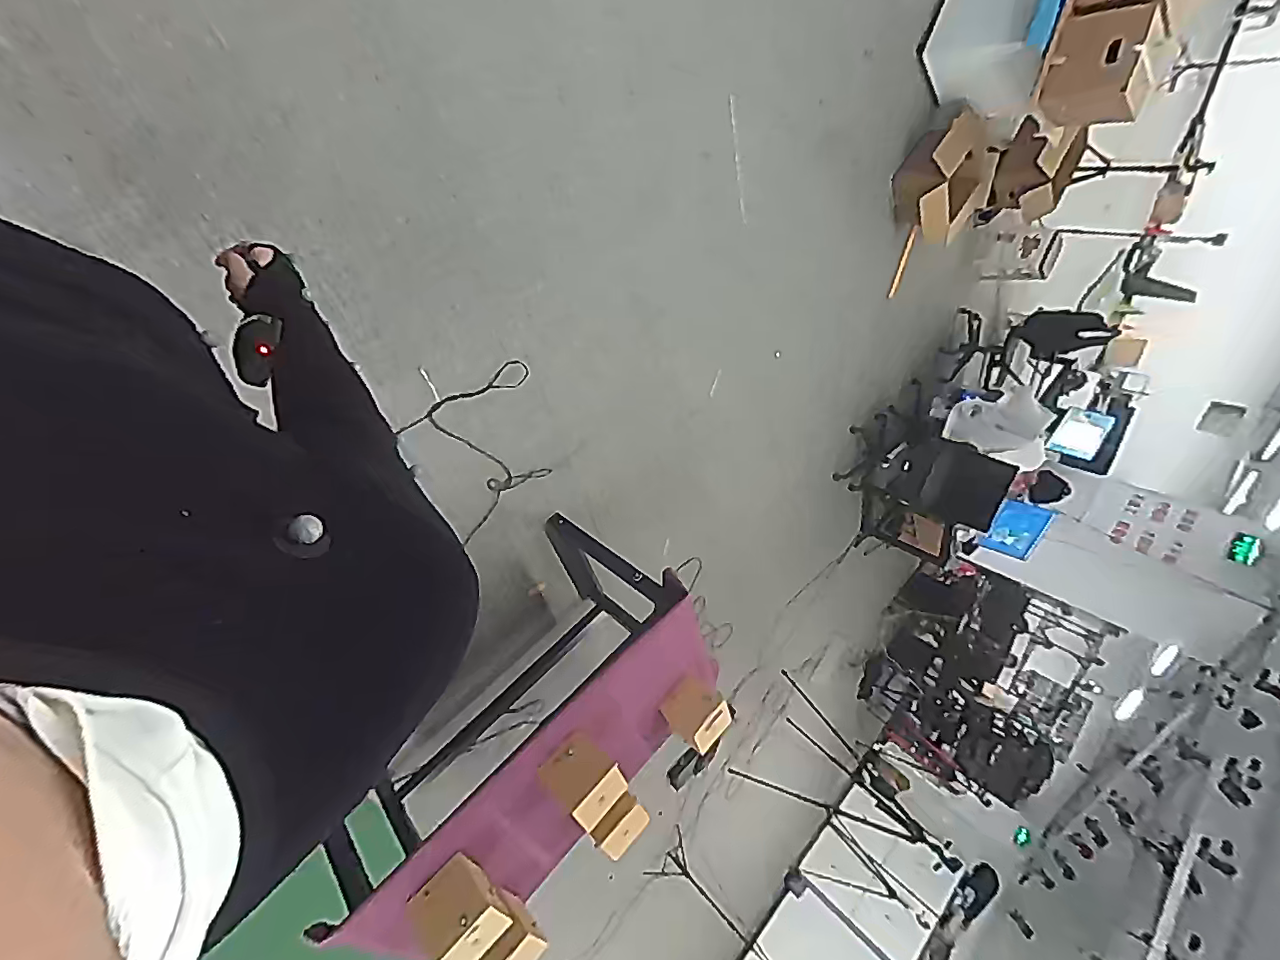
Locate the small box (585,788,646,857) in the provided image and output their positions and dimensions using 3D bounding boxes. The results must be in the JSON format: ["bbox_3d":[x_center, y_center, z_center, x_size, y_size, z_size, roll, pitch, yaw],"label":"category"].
[{"bbox_3d":[-0.110,1.079,1.770,0.168,0.176,0.179,-41,135,-23],"label":"small box"}]

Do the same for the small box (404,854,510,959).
[{"bbox_3d":[-0.469,1.110,1.389,0.168,0.176,0.179,-39,138,-28],"label":"small box"}]

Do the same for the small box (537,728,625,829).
[{"bbox_3d":[-0.171,0.863,1.574,0.168,0.176,0.179,-40,137,-26],"label":"small box"}]

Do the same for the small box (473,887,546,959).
[{"bbox_3d":[-0.411,1.349,1.591,0.168,0.176,0.179,-43,136,-26],"label":"small box"}]
